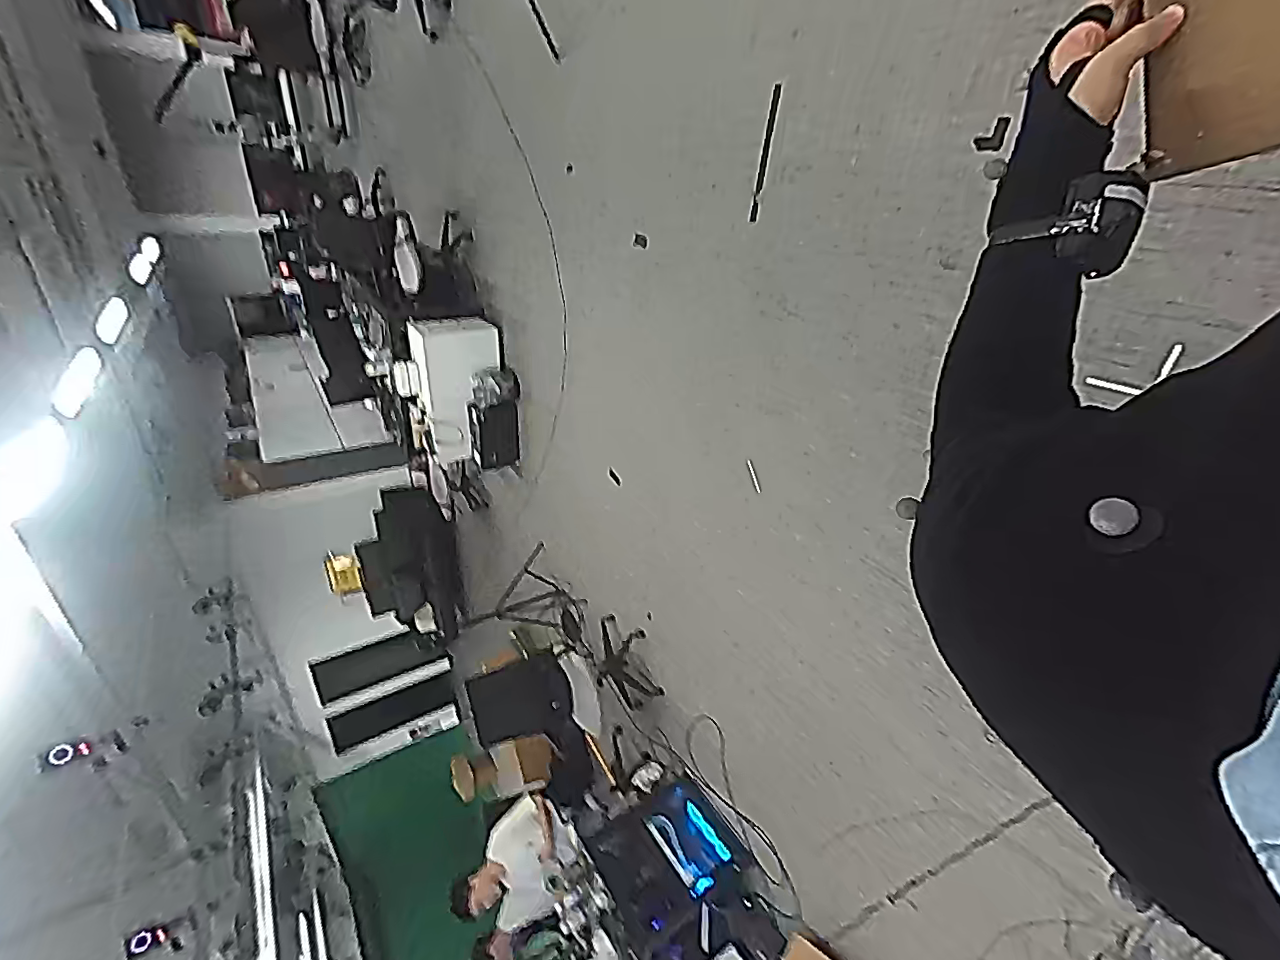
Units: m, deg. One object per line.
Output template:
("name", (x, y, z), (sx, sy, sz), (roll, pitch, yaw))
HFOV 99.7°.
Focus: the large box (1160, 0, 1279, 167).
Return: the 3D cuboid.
("large box", (0.591, -0.423, 0.281), (0.408, 0.320, 0.320), (8, 117, 59))
